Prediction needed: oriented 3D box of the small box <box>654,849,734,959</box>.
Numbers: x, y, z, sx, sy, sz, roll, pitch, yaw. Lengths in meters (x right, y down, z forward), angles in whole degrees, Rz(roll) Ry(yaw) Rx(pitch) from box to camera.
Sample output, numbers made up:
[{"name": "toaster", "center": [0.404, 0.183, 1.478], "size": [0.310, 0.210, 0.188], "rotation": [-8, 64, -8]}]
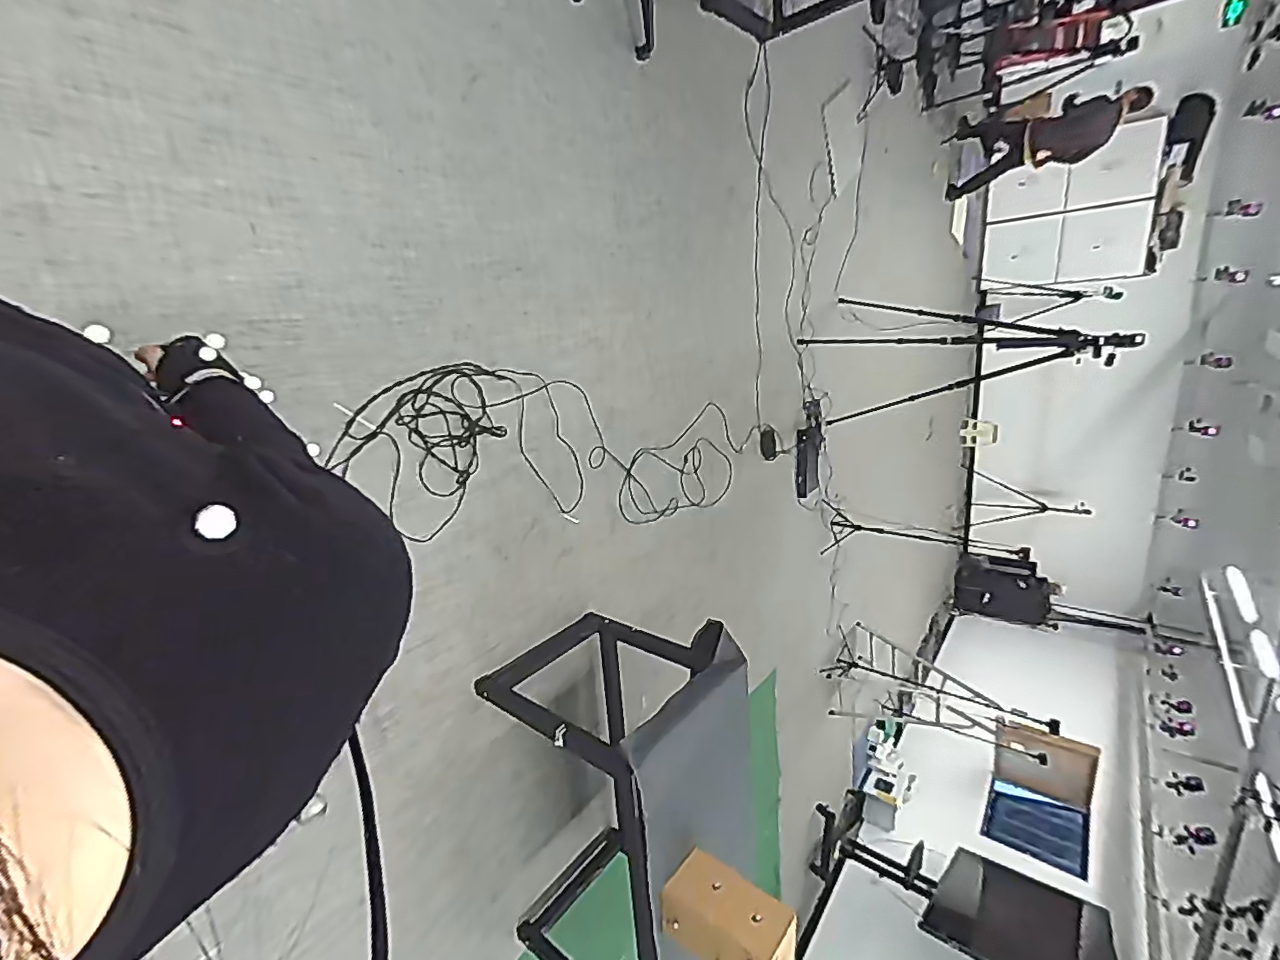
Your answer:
[{"name": "small box", "center": [0.158, 1.234, 1.577], "size": [0.179, 0.176, 0.168], "rotation": [-15, 108, -50]}]
